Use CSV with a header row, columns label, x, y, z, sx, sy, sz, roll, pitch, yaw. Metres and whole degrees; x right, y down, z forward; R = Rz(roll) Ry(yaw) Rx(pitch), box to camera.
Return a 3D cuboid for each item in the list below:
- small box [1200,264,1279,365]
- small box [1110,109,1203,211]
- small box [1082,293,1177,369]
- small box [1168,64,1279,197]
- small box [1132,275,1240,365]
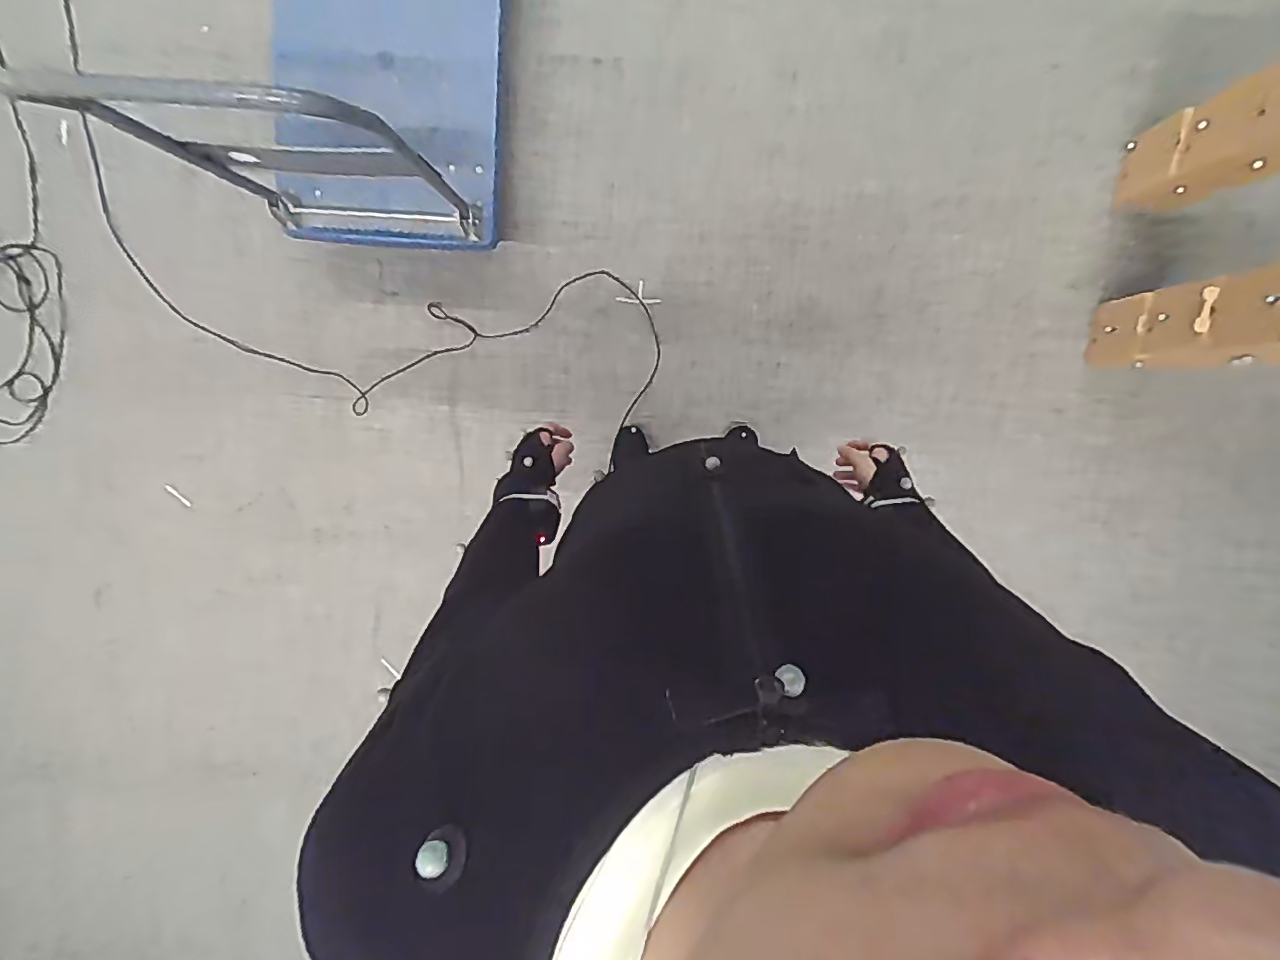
label,x,y,z,sx,sy,sz,roll,pitch,yaw
small box,1.362,-0.352,1.146,0.168,0.176,0.179,11,97,1
small box,1.401,-0.830,1.419,0.179,0.176,0.168,9,97,-1
small box,1.360,-0.398,1.470,0.179,0.176,0.168,7,97,1
small box,1.417,-0.813,1.265,0.168,0.176,0.179,41,95,-2
small box,1.367,-0.378,1.307,0.179,0.176,0.168,11,96,0
